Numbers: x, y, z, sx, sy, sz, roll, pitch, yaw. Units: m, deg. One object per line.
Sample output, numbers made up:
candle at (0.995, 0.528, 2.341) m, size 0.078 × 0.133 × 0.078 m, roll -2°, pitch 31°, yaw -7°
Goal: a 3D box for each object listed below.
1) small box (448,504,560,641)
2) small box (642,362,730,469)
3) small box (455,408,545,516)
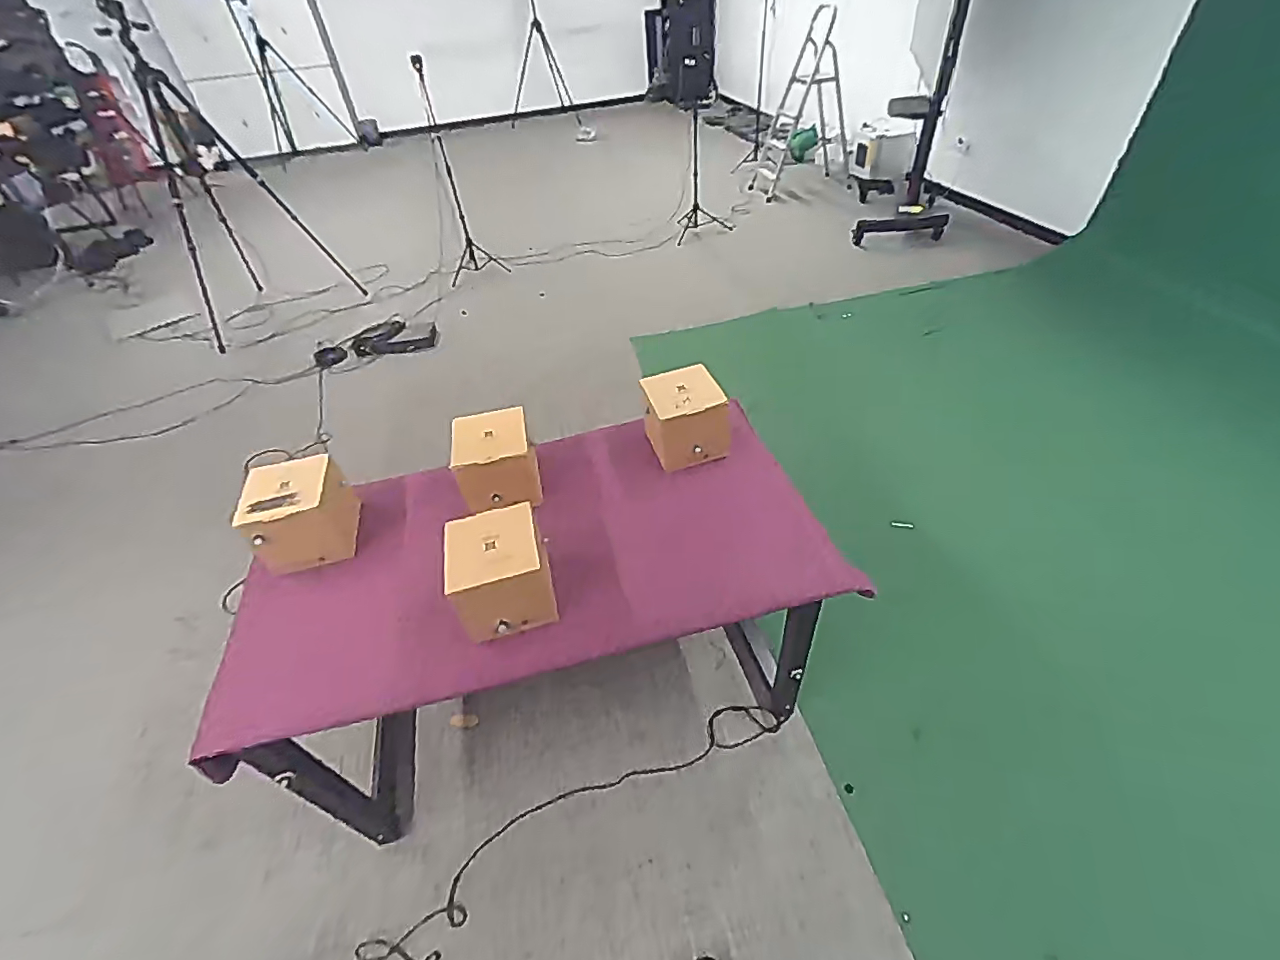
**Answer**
small box at (-0.260, 0.179, 1.042) m, size 0.168 × 0.176 × 0.179 m, roll -15°, pitch 44°, yaw -6°
small box at (0.112, -0.156, 1.324) m, size 0.168 × 0.176 × 0.179 m, roll -17°, pitch 46°, yaw -5°
small box at (-0.327, -0.040, 1.275) m, size 0.168 × 0.176 × 0.179 m, roll -13°, pitch 46°, yaw -5°
